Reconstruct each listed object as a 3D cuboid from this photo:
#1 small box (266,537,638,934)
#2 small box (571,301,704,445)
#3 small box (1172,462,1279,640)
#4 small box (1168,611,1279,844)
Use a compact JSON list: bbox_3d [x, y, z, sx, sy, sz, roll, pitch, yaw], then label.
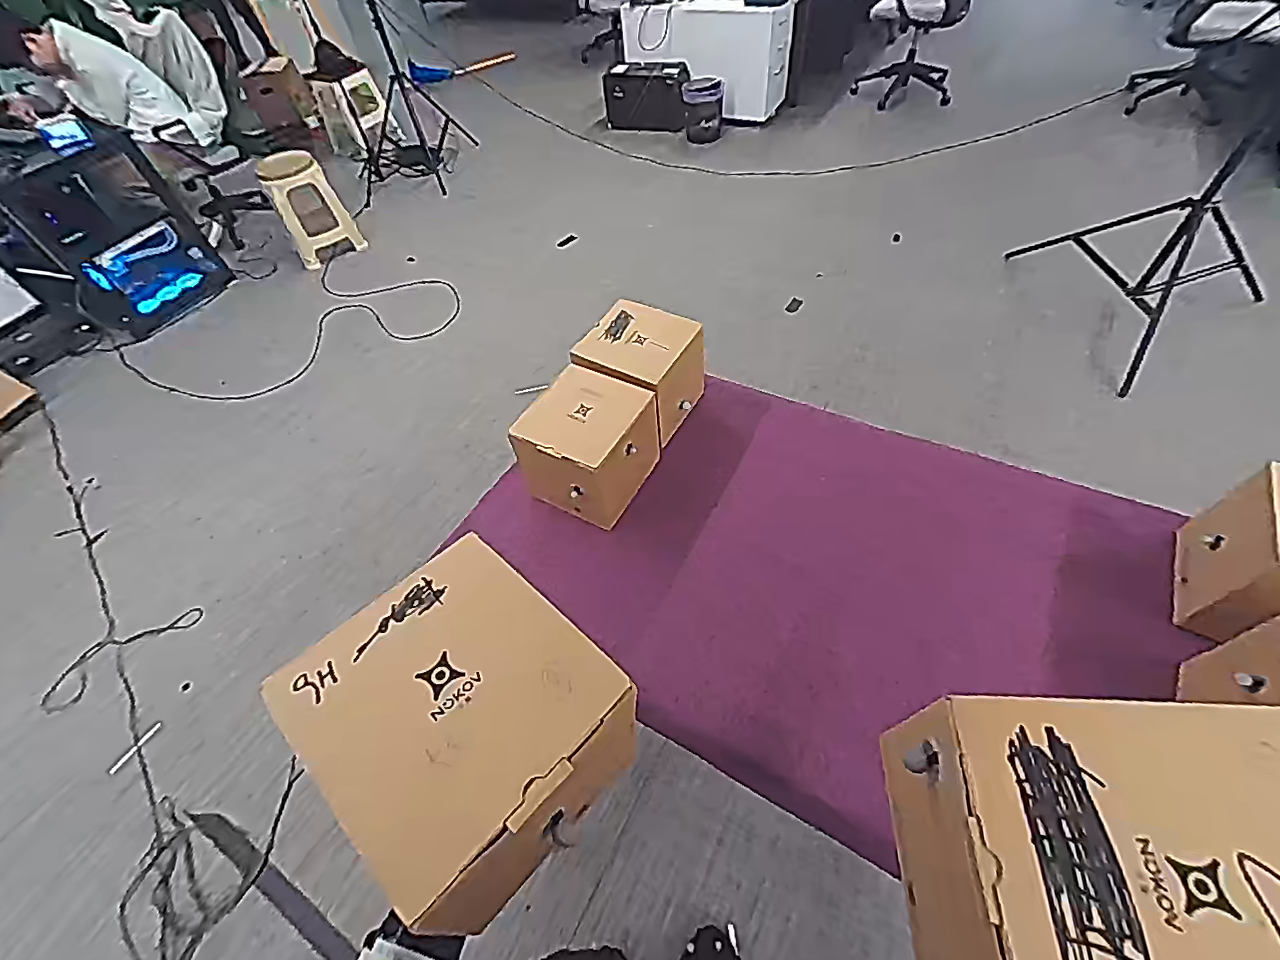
[{"bbox_3d":[-0.118,0.183,0.401,0.179,0.176,0.168,35,57,24],"label":"small box"},{"bbox_3d":[0.003,-0.192,0.989,0.179,0.176,0.168,24,61,21],"label":"small box"},{"bbox_3d":[0.810,0.113,0.663,0.179,0.176,0.168,23,59,21],"label":"small box"},{"bbox_3d":[0.700,0.276,0.557,0.168,0.176,0.179,26,58,25],"label":"small box"}]
